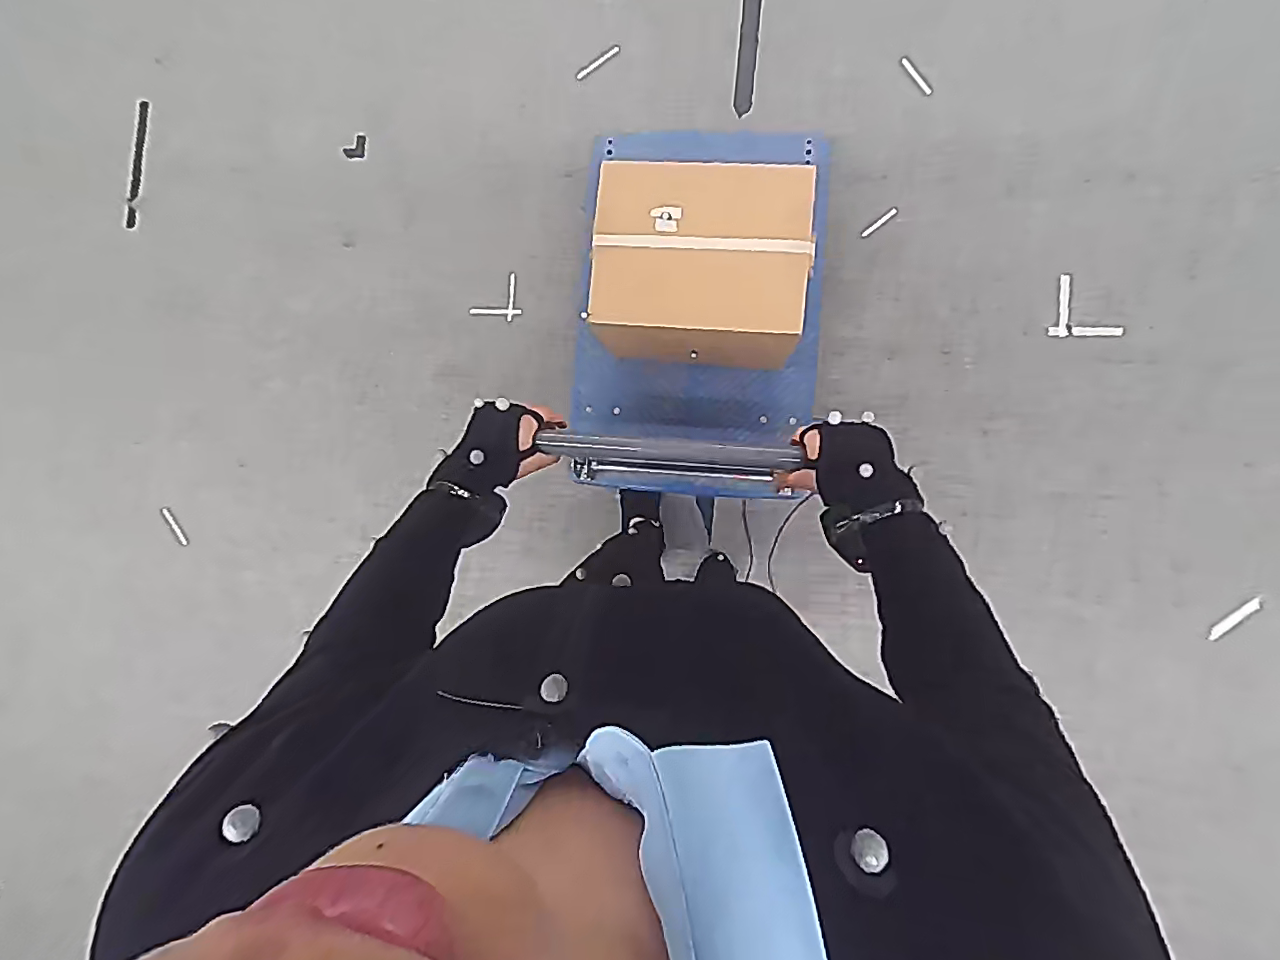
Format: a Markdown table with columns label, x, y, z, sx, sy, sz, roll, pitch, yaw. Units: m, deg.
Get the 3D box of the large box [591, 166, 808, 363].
| label | x | y | z | sx | sy | sz | roll | pitch | yaw |
| --- | --- | --- | --- | --- | --- | --- | --- | --- | --- |
| large box | 0.131 | -0.443 | 1.179 | 0.408 | 0.320 | 0.320 | 5 | 89 | 7 |
